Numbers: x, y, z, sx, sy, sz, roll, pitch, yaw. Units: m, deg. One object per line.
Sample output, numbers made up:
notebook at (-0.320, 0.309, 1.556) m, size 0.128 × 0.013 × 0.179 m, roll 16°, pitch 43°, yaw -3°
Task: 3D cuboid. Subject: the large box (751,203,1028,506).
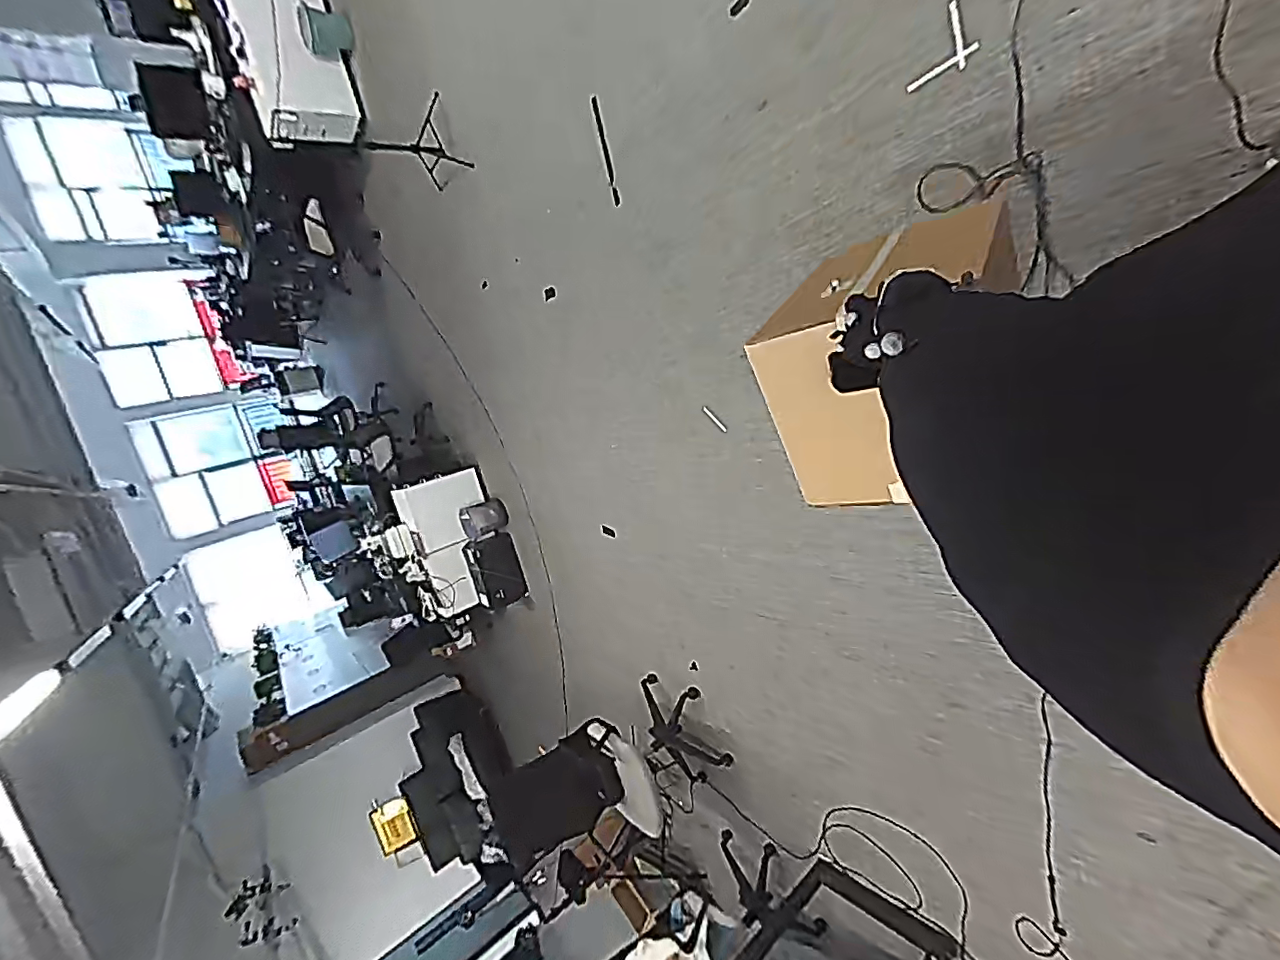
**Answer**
large box at (0.444, -0.205, 0.913) m, size 0.320 × 0.408 × 0.320 m, roll -9°, pitch 120°, yaw 42°
